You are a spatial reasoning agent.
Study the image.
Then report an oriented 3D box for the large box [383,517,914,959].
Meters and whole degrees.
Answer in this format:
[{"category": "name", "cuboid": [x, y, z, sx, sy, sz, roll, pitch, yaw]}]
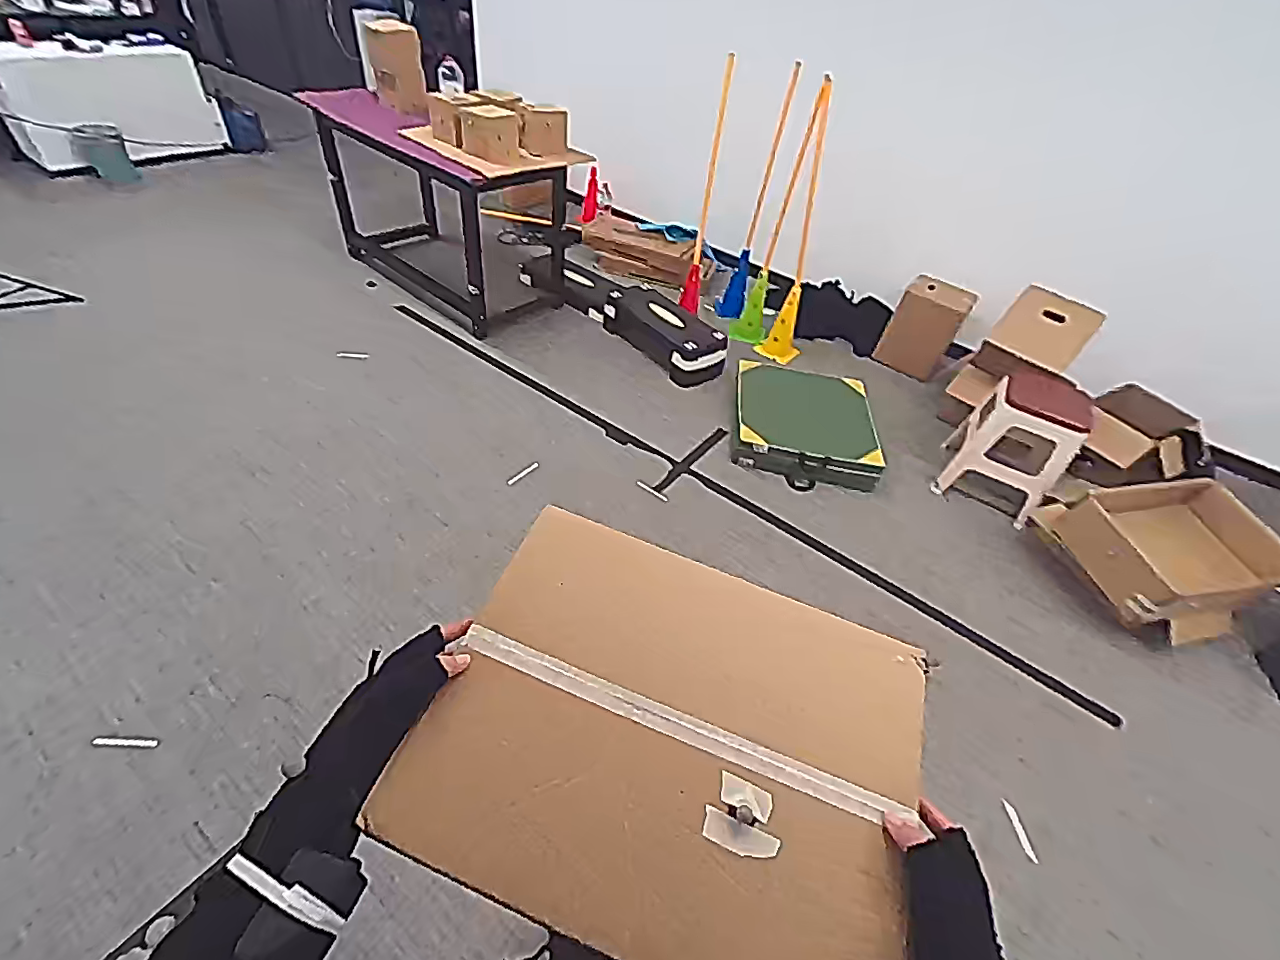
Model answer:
[{"category": "large box", "cuboid": [0.019, 0.304, 0.591, 0.408, 0.320, 0.320, 21, 54, 8]}]
